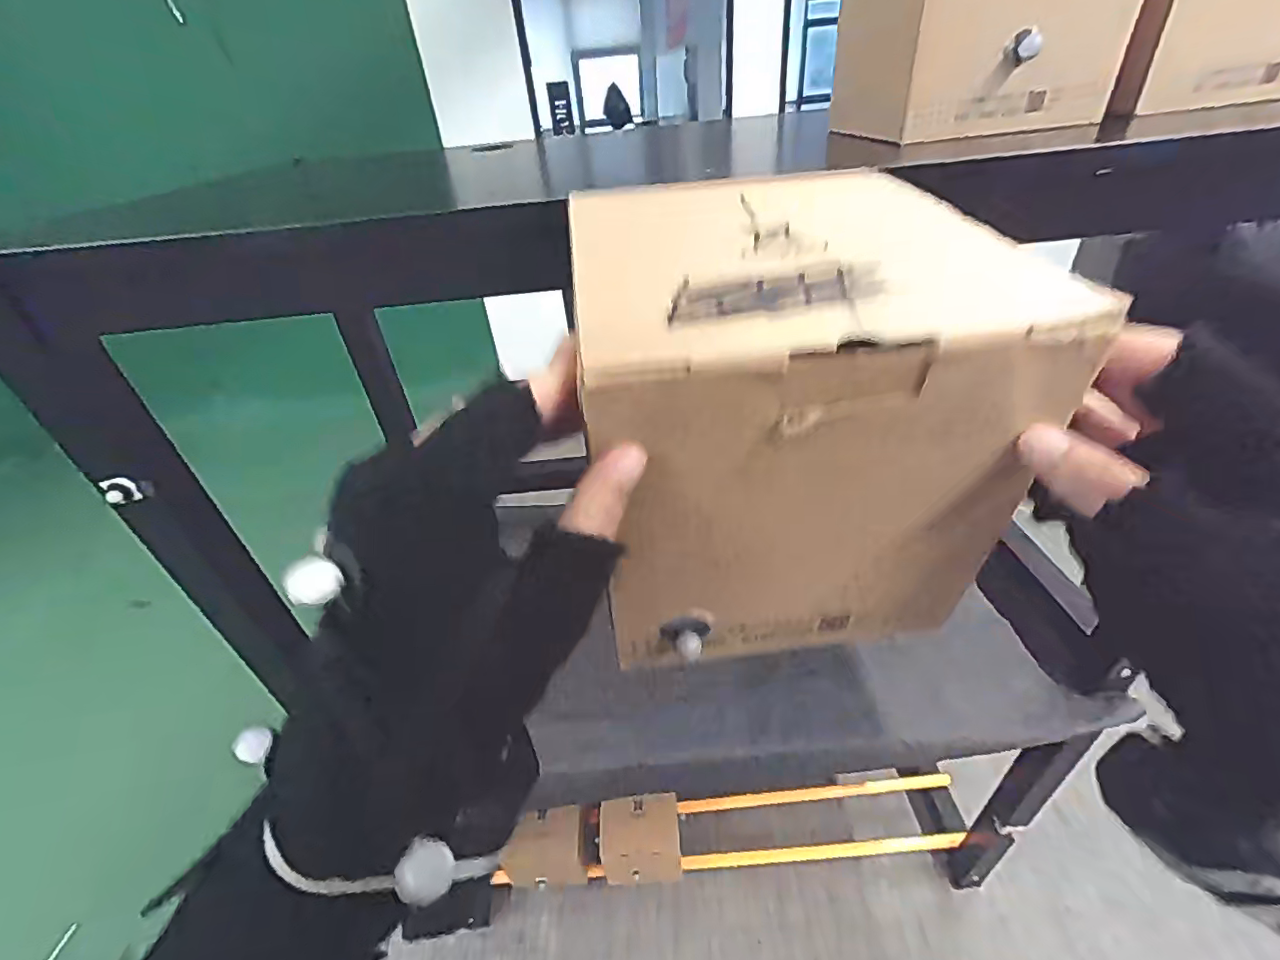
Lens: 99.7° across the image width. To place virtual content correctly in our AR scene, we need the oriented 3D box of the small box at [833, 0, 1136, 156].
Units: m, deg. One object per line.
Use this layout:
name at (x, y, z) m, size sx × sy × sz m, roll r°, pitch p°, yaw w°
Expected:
small box at (0.279, -0.387, 0.466) m, size 0.168 × 0.176 × 0.179 m, roll -6°, pitch 37°, yaw 1°
